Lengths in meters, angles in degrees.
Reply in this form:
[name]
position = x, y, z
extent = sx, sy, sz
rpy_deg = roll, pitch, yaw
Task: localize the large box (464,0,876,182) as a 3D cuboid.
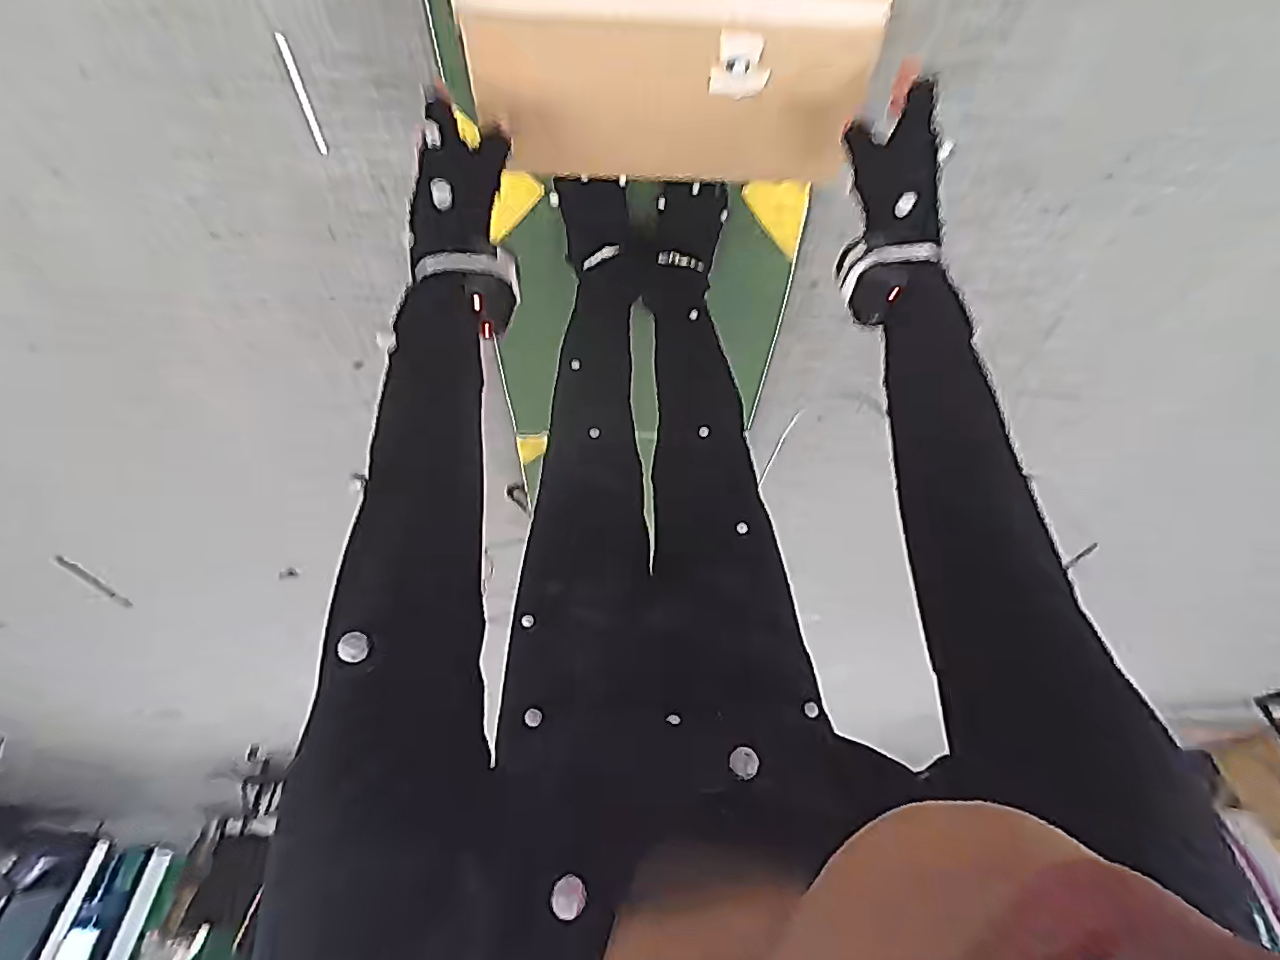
[large box]
position = 0.021, -0.565, 0.618
extent = 0.408, 0.320, 0.320
rpy_deg = -1, 140, -4
